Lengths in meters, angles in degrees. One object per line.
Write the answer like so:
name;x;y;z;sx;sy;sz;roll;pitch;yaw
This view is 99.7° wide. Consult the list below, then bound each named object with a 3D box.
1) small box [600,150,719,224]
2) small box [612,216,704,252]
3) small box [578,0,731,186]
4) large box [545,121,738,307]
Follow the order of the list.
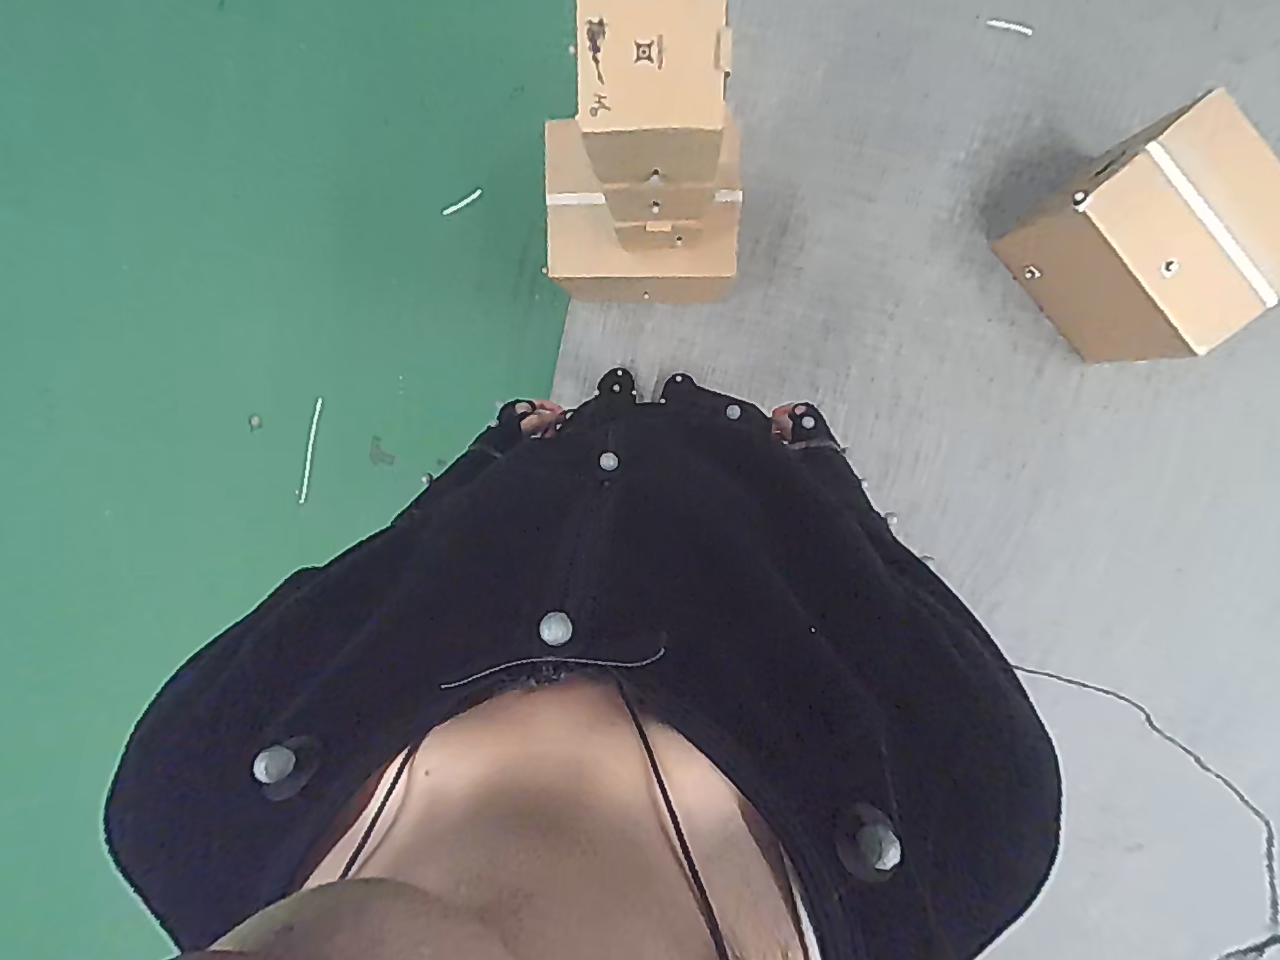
small box;0.032;-0.520;0.861;0.179;0.176;0.168;0;99;4
small box;0.040;-0.541;1.023;0.168;0.176;0.179;2;98;4
small box;0.018;-0.499;0.699;0.179;0.176;0.168;1;98;3
large box;0.016;-0.589;1.265;0.408;0.320;0.320;1;97;5
